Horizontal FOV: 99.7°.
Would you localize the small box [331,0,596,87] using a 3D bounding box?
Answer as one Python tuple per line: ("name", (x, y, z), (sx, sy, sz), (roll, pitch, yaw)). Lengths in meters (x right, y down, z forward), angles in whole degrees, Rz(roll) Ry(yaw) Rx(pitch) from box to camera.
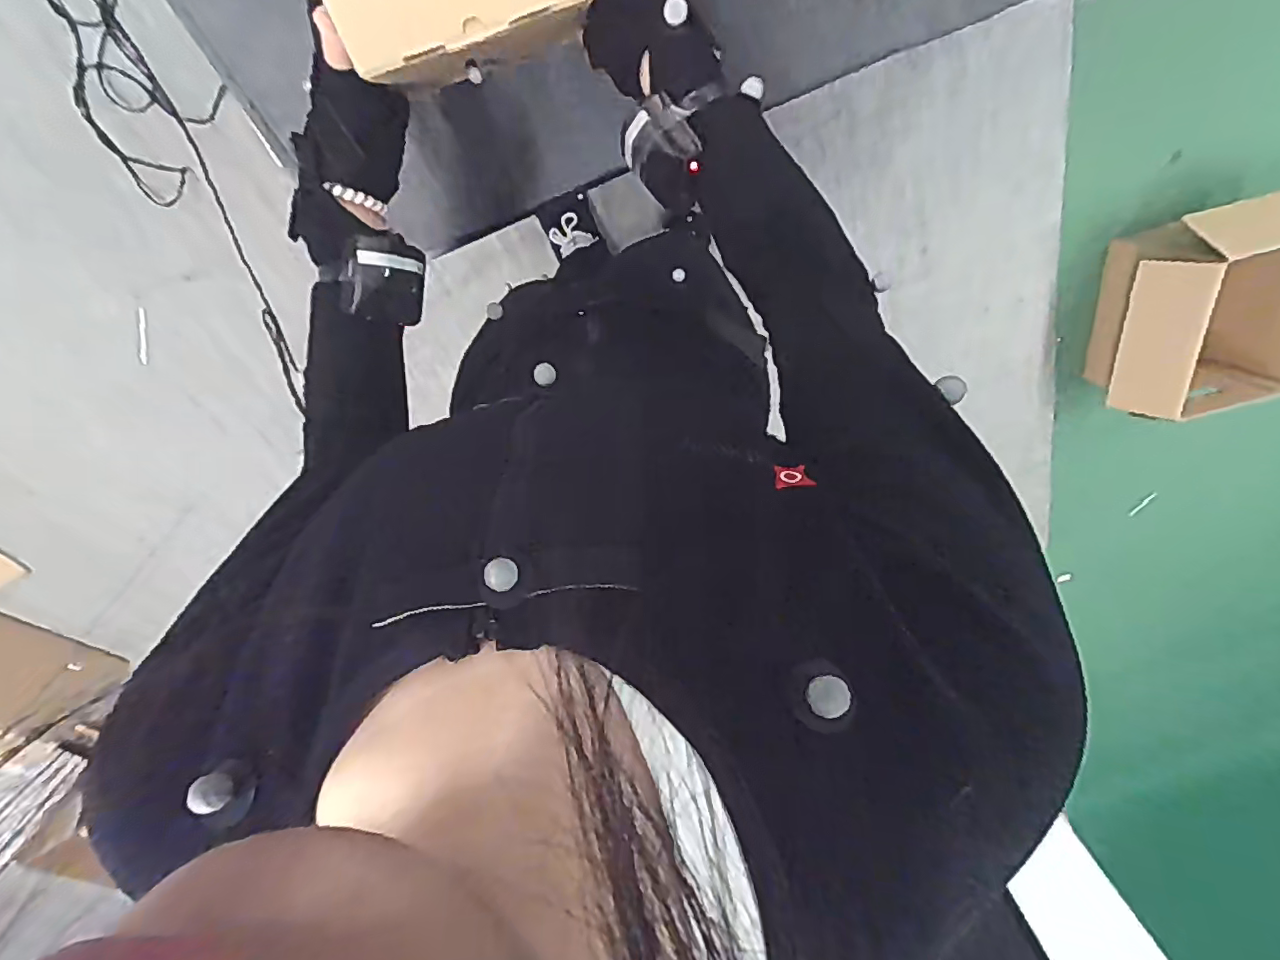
("small box", (-0.142, -0.398, 0.368), (0.168, 0.176, 0.179), (-21, 126, 0))
